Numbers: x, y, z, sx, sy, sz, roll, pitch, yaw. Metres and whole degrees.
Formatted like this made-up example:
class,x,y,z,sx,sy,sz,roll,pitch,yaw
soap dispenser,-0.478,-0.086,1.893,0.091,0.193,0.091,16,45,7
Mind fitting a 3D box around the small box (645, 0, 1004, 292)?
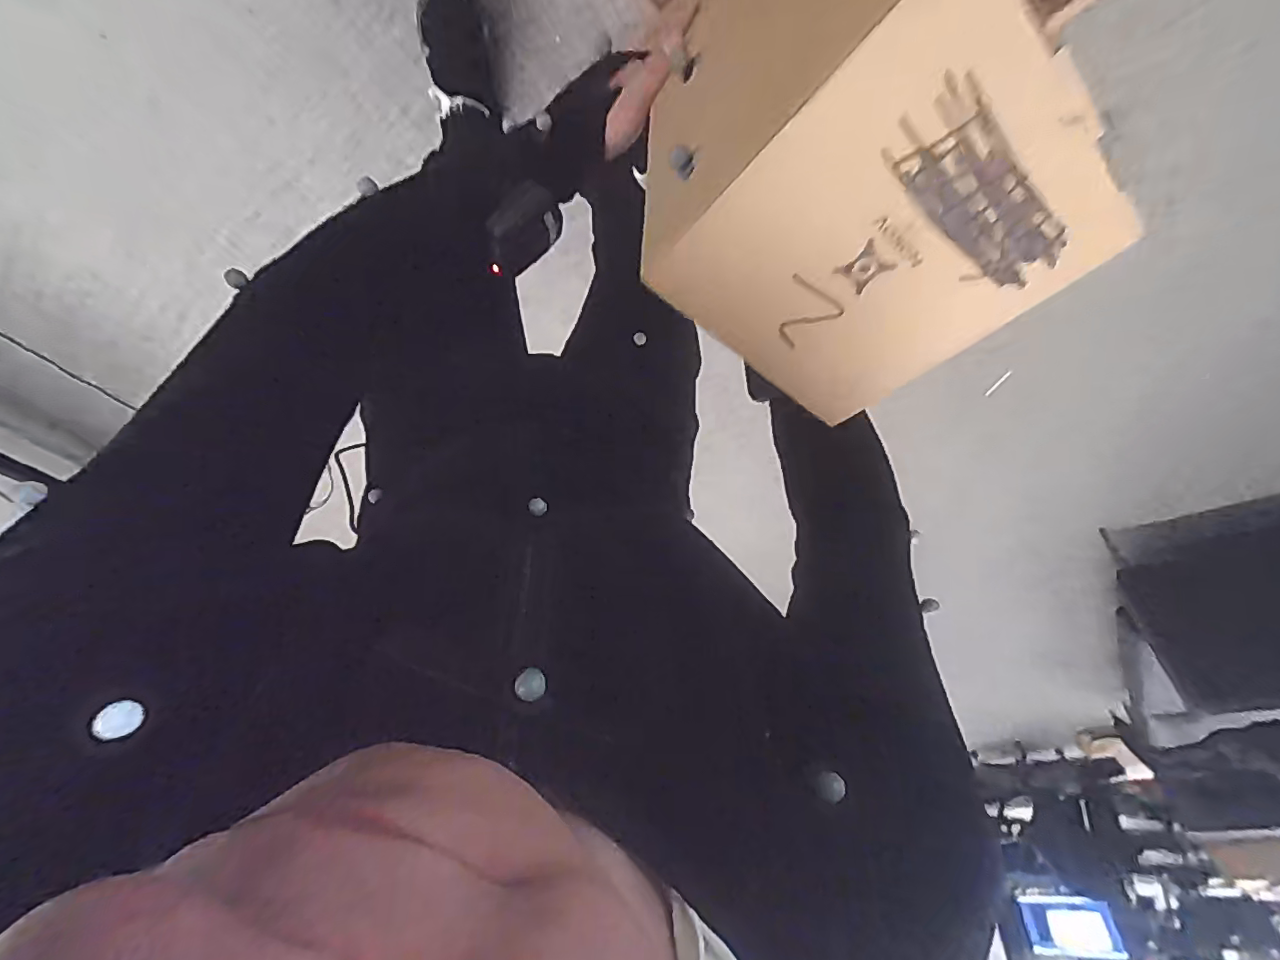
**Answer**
class,x,y,z,sx,sy,sz,roll,pitch,yaw
small box,0.123,-0.290,0.409,0.168,0.176,0.179,28,135,-30
